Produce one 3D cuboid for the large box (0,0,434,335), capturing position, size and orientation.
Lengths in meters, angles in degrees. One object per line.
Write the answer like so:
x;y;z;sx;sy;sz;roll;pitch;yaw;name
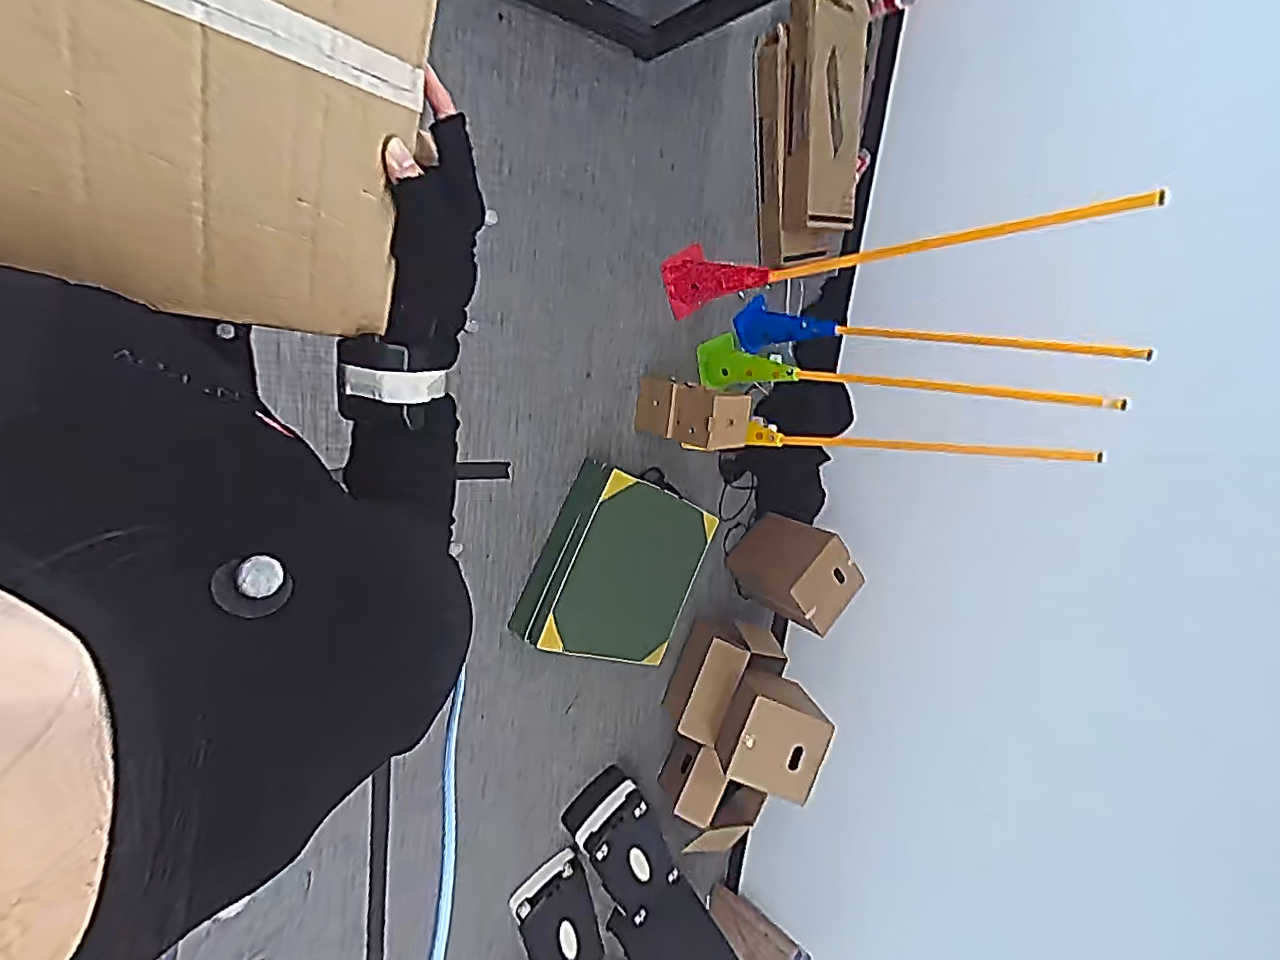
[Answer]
-0.370;-0.310;0.301;0.408;0.320;0.320;-1;127;-40;large box
